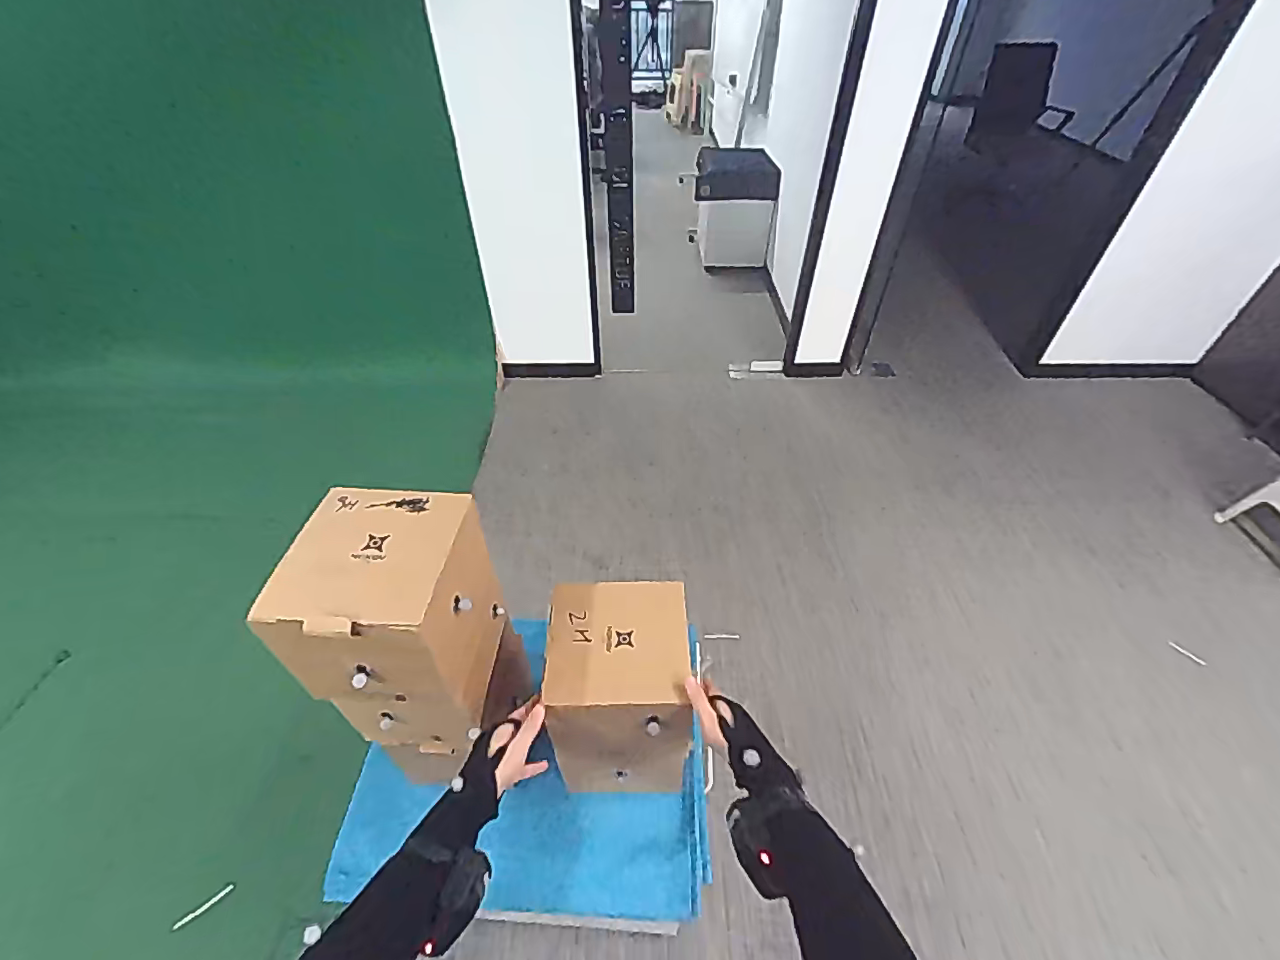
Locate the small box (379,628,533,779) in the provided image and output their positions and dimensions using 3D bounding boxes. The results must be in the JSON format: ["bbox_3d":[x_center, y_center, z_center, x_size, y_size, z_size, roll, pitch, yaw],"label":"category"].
[{"bbox_3d":[-0.269,0.346,0.842,0.168,0.176,0.179,3,44,2],"label":"small box"}]

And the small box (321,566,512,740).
[{"bbox_3d":[-0.280,0.230,0.729,0.168,0.176,0.179,4,43,3],"label":"small box"}]

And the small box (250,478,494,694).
[{"bbox_3d":[-0.274,0.120,0.607,0.168,0.176,0.179,4,44,2],"label":"small box"}]

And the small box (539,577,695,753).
[{"bbox_3d":[-0.024,0.244,0.710,0.179,0.176,0.168,-1,44,1],"label":"small box"}]
